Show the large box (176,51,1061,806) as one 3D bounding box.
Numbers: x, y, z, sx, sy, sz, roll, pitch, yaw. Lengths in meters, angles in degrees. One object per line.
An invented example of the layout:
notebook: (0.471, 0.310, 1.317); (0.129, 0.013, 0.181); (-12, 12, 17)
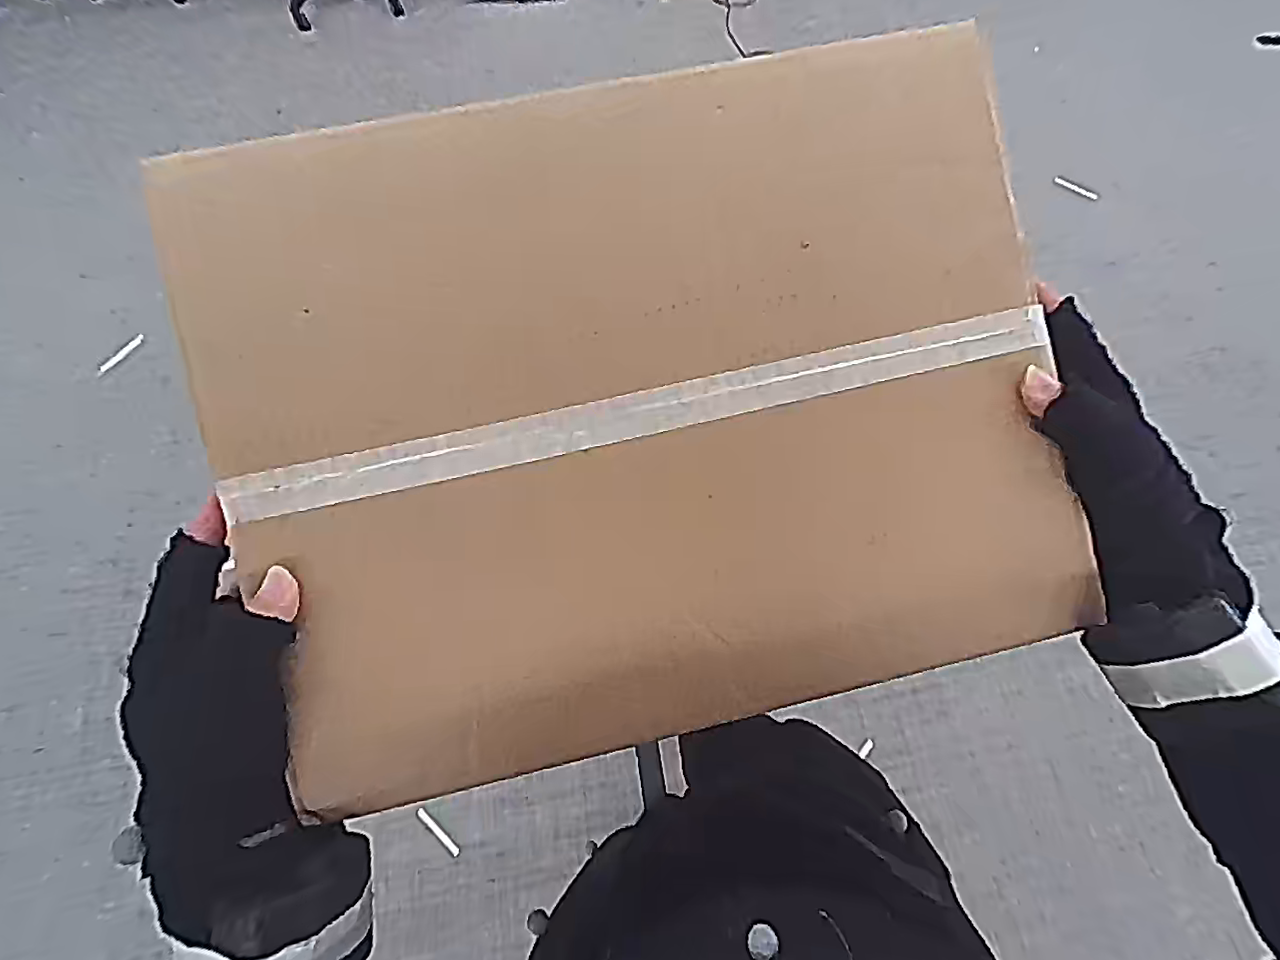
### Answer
large box: (-0.005, -0.035, 0.421); (0.408, 0.320, 0.320); (-12, 91, -4)
